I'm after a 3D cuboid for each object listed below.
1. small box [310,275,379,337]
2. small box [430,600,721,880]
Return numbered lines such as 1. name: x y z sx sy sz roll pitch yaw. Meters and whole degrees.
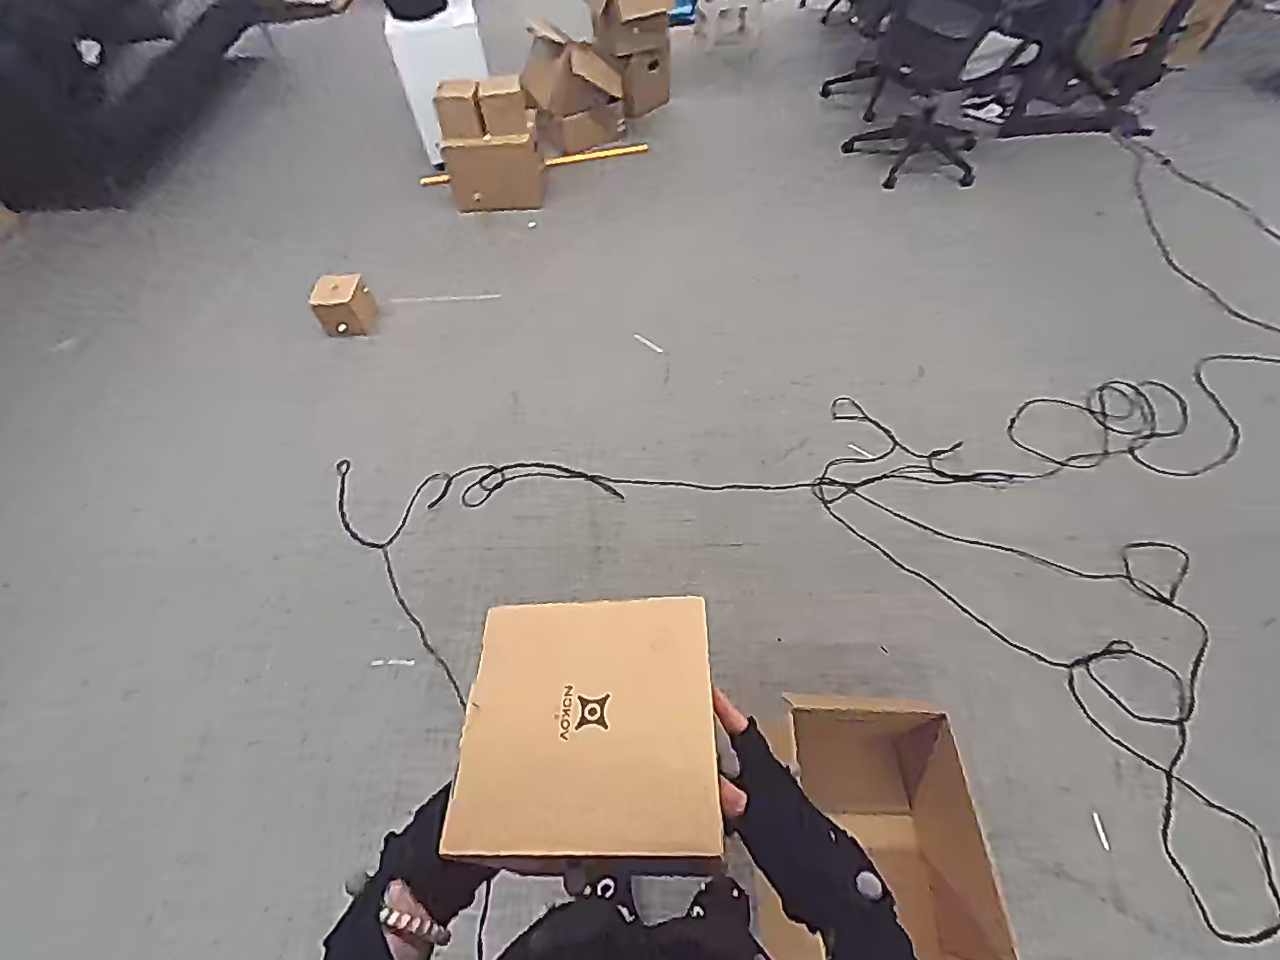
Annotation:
1. small box: -1.173 -0.697 2.165 0.168 0.176 0.179 -2 57 1
2. small box: -0.029 0.208 0.425 0.179 0.176 0.168 -5 51 7
